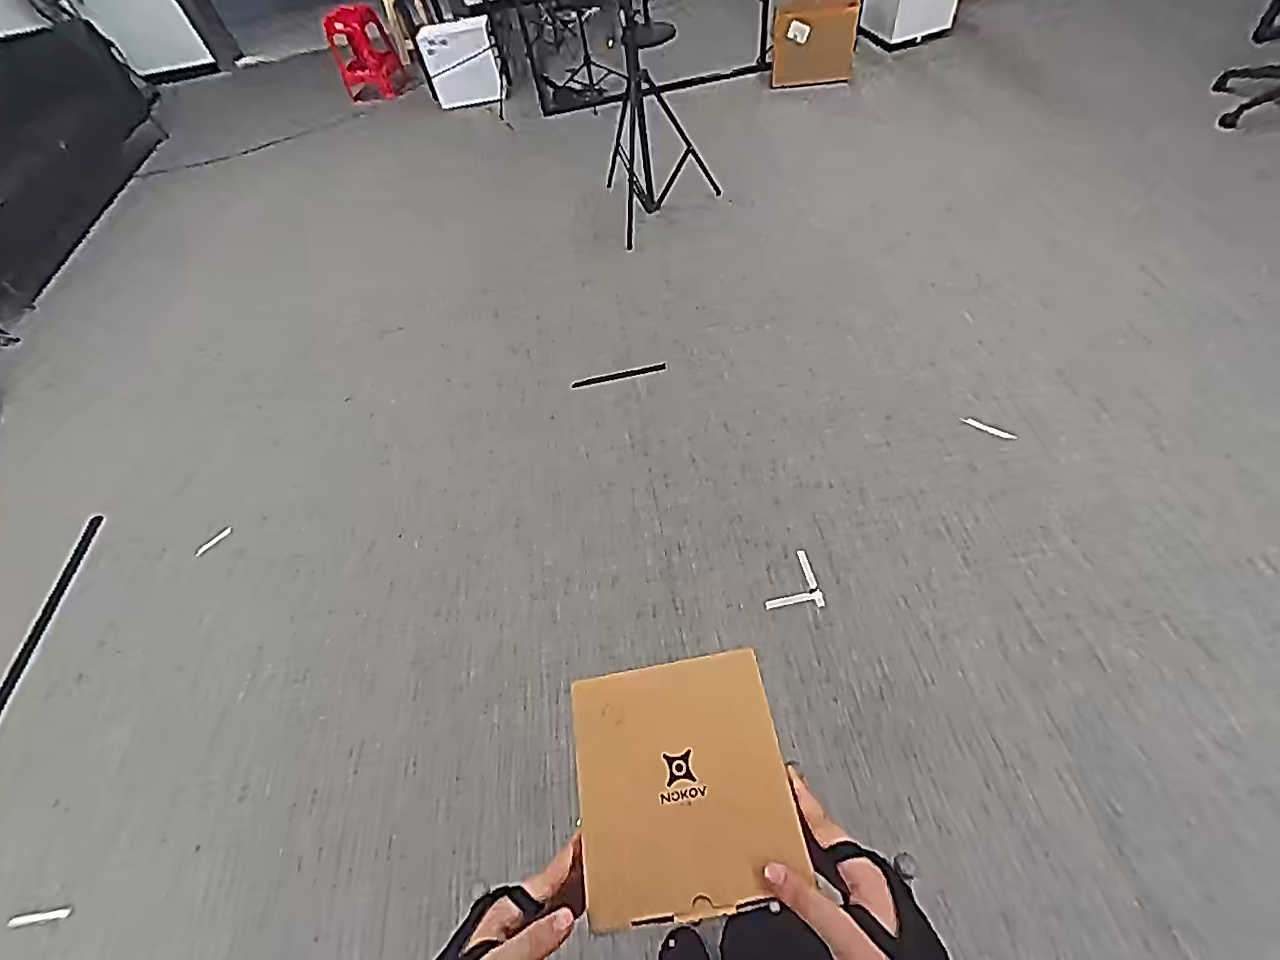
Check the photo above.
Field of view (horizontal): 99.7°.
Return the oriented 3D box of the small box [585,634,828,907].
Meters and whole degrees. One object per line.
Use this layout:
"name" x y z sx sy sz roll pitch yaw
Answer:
"small box" 0.051 0.264 0.493 0.168 0.176 0.179 -11 55 1
